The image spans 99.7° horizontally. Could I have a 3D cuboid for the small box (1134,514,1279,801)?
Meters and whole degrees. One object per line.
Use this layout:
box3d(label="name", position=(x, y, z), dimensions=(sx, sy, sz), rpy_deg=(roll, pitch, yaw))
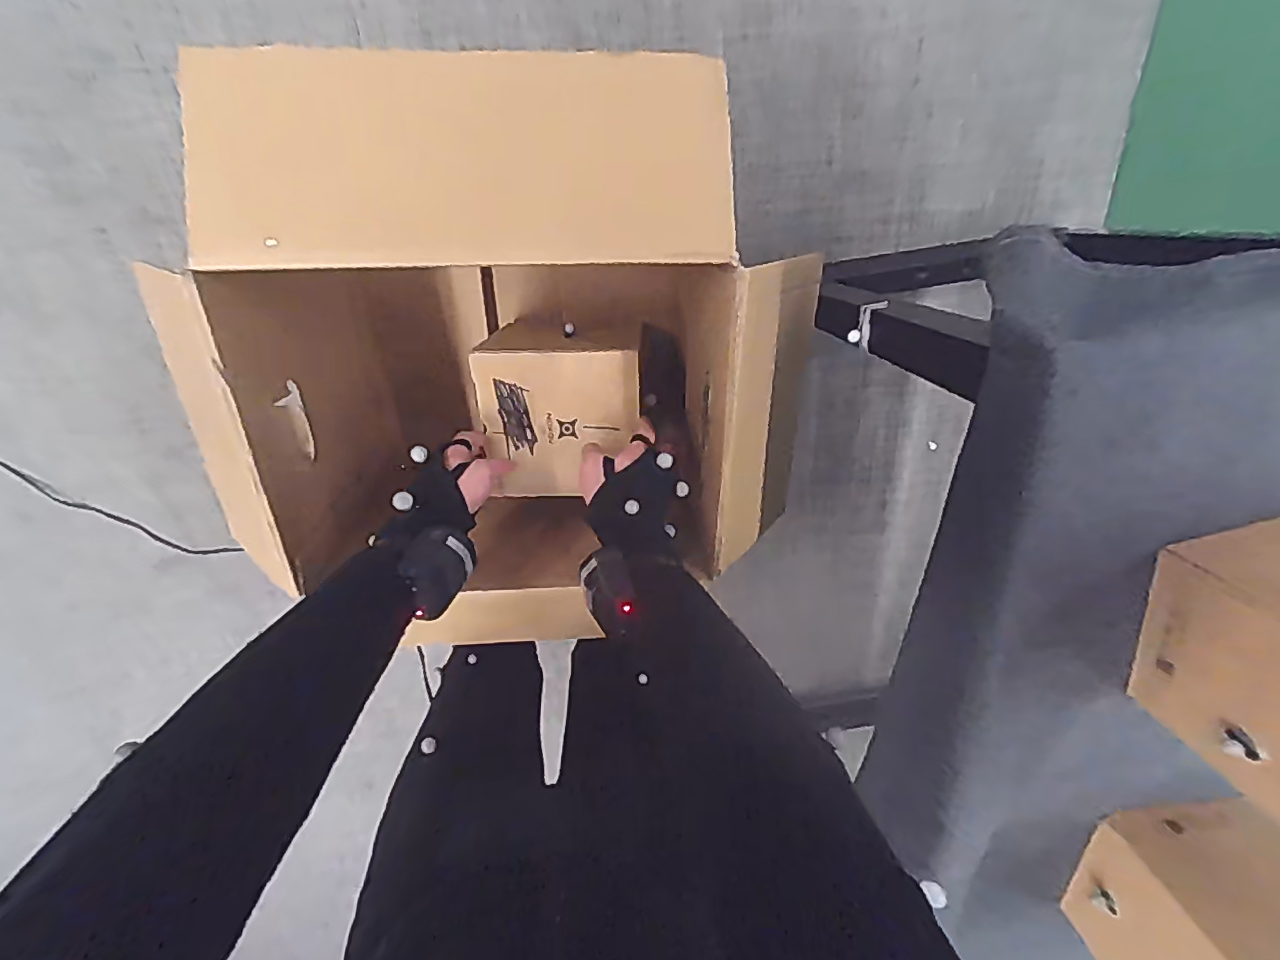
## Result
box3d(label="small box", position=(0.506, 0.129, 0.375), dimensions=(0.179, 0.176, 0.168), rpy_deg=(-16, 117, 1))

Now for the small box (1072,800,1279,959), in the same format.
box3d(label="small box", position=(0.583, 0.454, 0.534), dimensions=(0.168, 0.176, 0.179), rpy_deg=(-6, 116, -2))
